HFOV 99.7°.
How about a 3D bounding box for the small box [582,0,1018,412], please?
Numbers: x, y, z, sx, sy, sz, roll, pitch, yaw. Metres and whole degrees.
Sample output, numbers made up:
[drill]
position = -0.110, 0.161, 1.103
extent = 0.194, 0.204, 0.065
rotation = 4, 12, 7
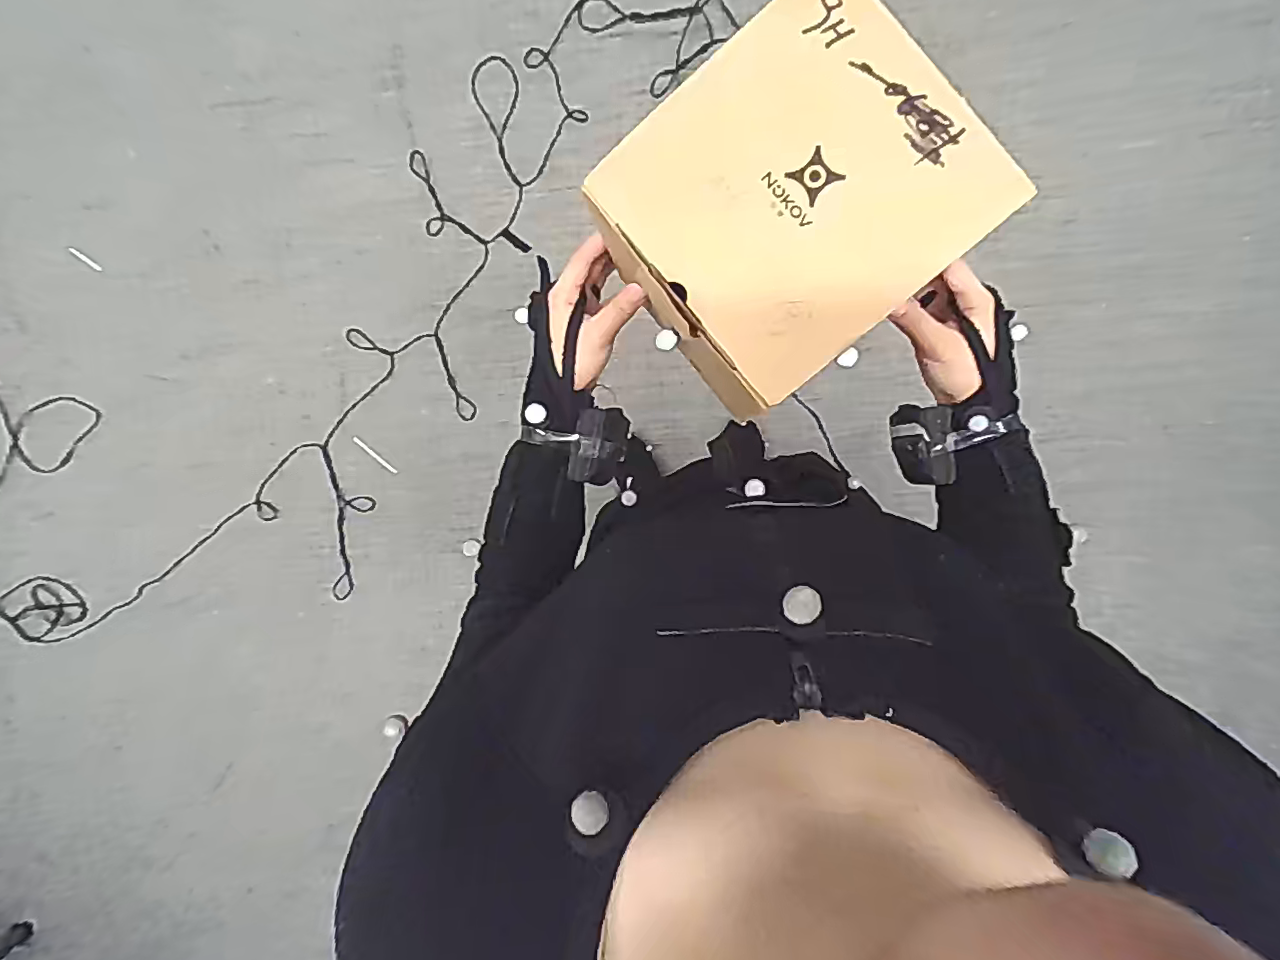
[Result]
[small box]
position = 0.091, -0.161, 0.371
extent = 0.179, 0.176, 0.168
rotation = -39, 90, 8
